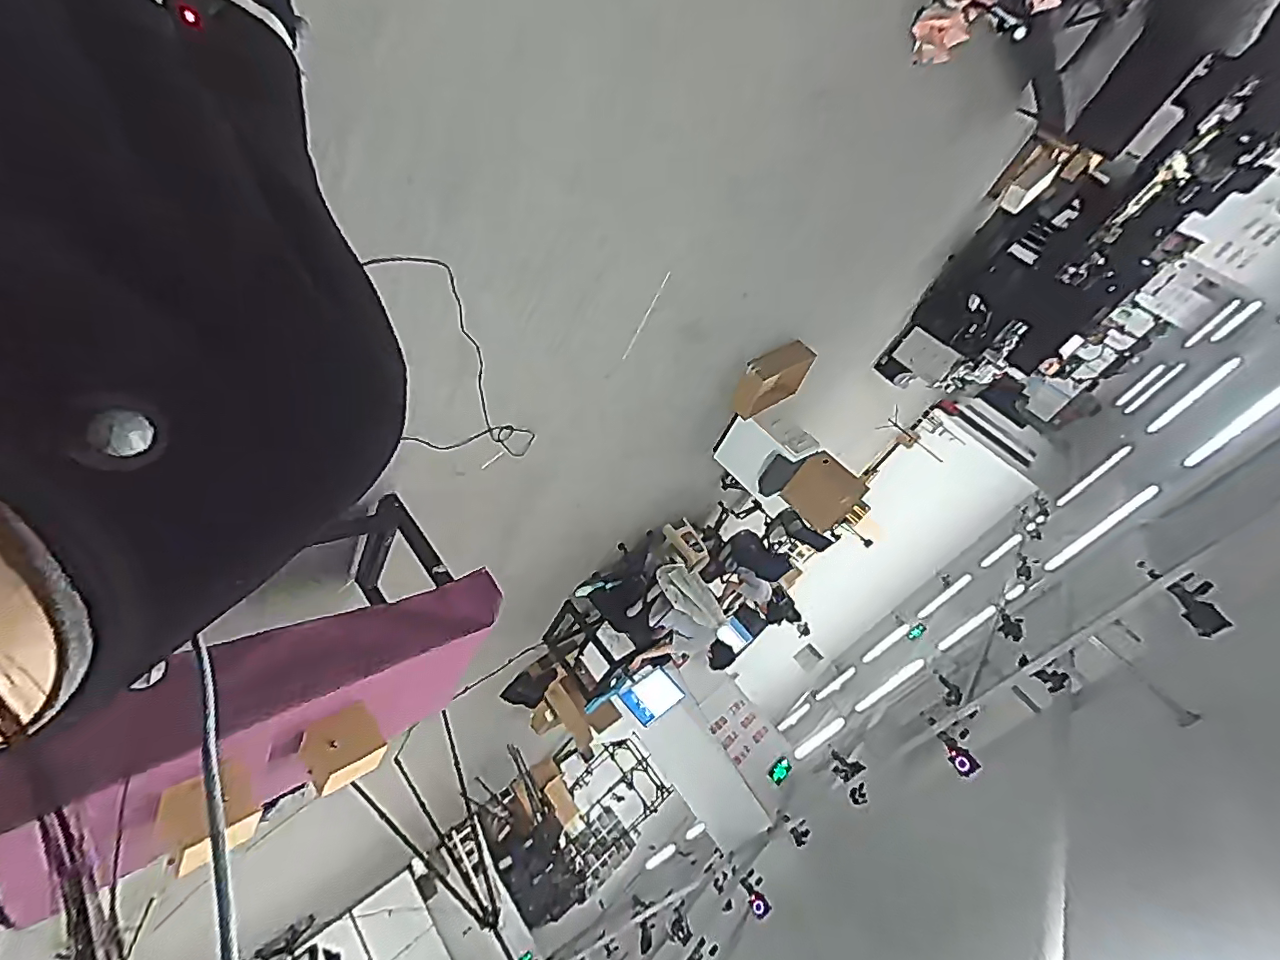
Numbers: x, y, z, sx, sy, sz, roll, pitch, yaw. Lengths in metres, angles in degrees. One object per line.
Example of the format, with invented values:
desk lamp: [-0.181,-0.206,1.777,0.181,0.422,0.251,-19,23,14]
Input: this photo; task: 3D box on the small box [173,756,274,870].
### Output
small box: [-1.103,0.866,1.427,0.168,0.176,0.179,-12,143,-52]

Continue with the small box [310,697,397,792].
small box: [-0.900,0.820,1.689,0.179,0.176,0.168,-14,145,-51]
